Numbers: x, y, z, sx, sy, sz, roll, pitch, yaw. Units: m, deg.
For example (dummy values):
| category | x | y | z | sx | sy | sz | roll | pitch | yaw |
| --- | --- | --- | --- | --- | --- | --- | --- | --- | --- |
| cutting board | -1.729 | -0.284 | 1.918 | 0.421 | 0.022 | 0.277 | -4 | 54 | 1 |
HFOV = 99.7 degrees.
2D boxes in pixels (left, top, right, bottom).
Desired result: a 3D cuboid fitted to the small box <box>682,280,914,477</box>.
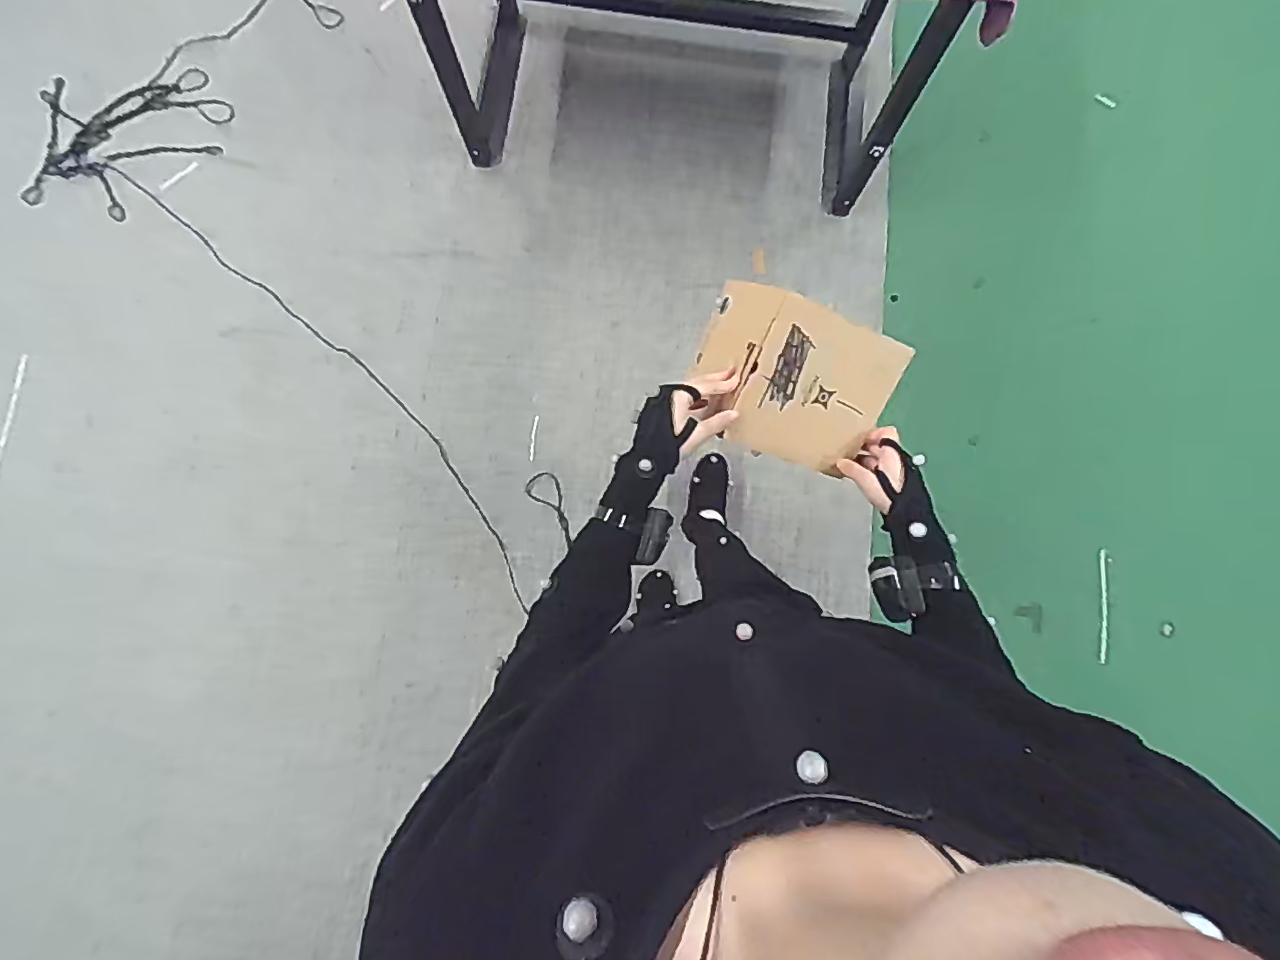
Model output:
| category | x | y | z | sx | sy | sz | roll | pitch | yaw |
| --- | --- | --- | --- | --- | --- | --- | --- | --- | --- |
| small box | 0.170 | -0.128 | 0.645 | 0.179 | 0.176 | 0.168 | 16 | 109 | -19 |
